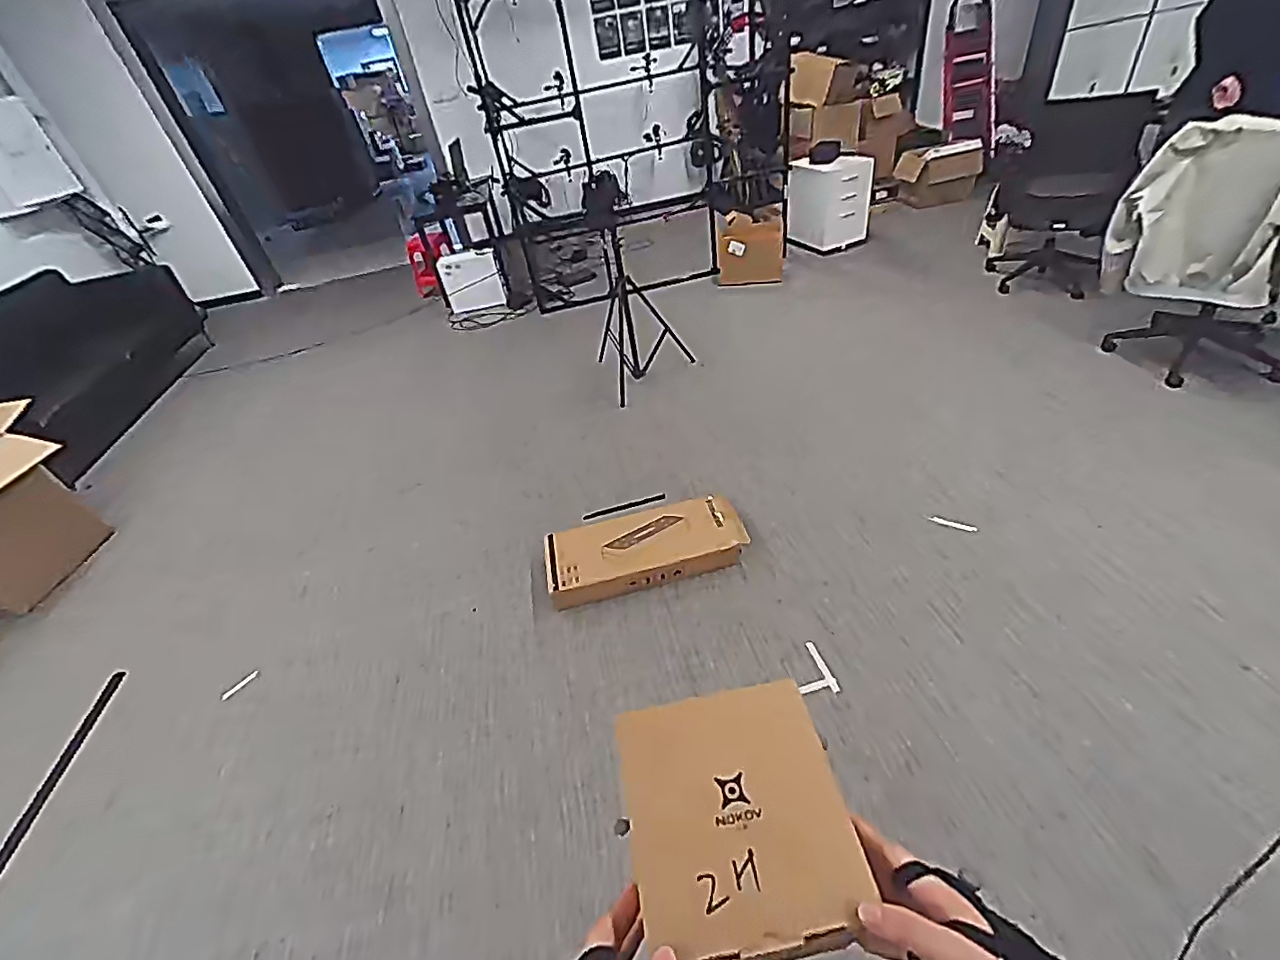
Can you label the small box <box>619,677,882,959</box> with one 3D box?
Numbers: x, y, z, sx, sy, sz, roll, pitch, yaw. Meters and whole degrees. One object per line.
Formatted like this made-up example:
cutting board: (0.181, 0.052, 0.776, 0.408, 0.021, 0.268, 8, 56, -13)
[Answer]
small box: (0.078, 0.306, 0.476, 0.168, 0.176, 0.179, -10, 44, -3)
